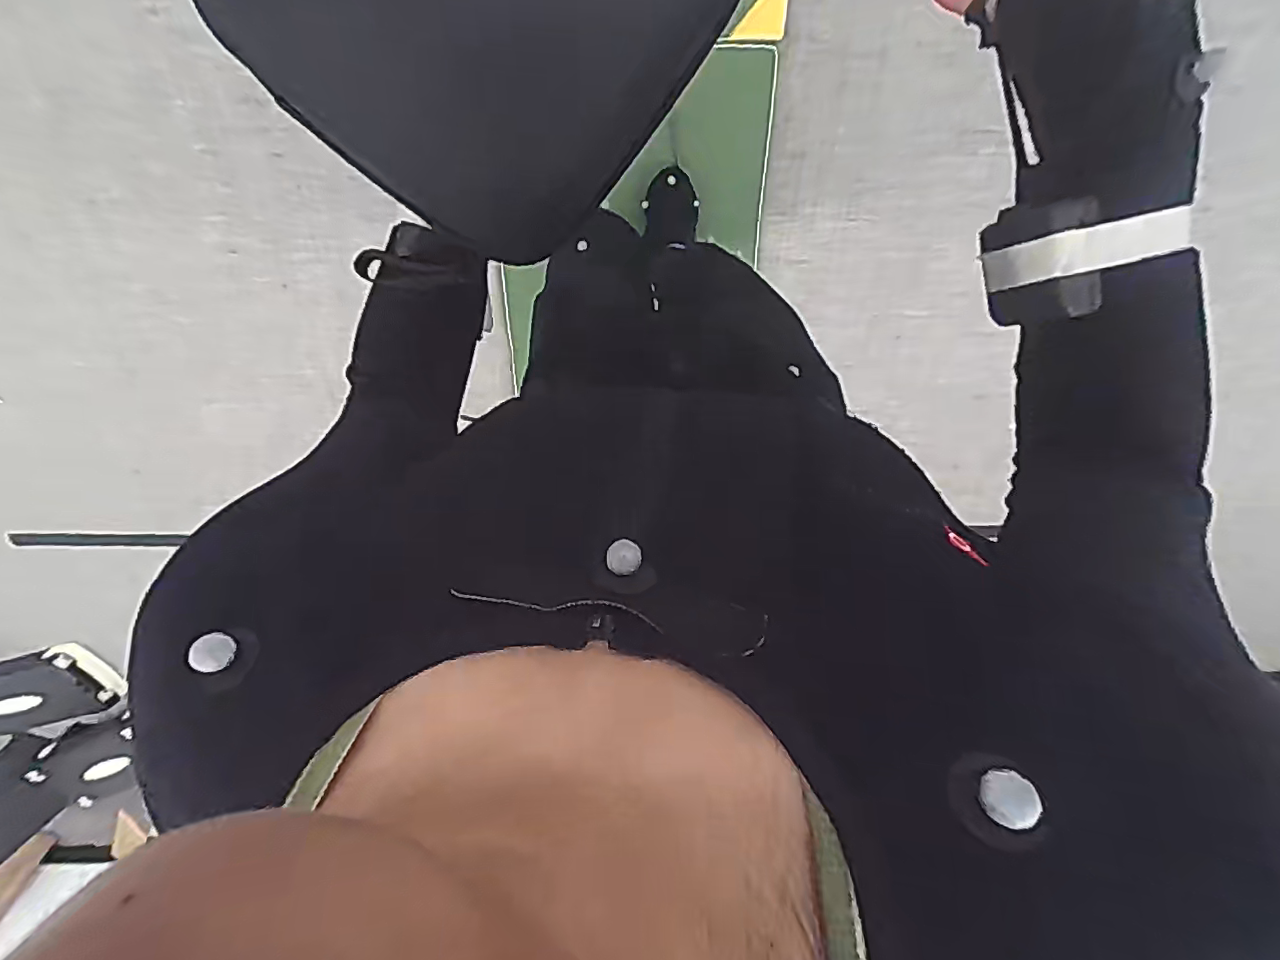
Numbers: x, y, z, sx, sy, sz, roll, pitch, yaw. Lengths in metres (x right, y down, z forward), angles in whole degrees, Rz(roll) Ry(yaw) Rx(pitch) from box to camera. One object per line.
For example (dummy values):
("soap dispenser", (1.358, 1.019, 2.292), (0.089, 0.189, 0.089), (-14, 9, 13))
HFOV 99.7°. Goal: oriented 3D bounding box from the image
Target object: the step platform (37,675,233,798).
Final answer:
("step platform", (-1.989, 1.020, 2.131), (0.684, 0.204, 0.286), (-26, 118, 14))
